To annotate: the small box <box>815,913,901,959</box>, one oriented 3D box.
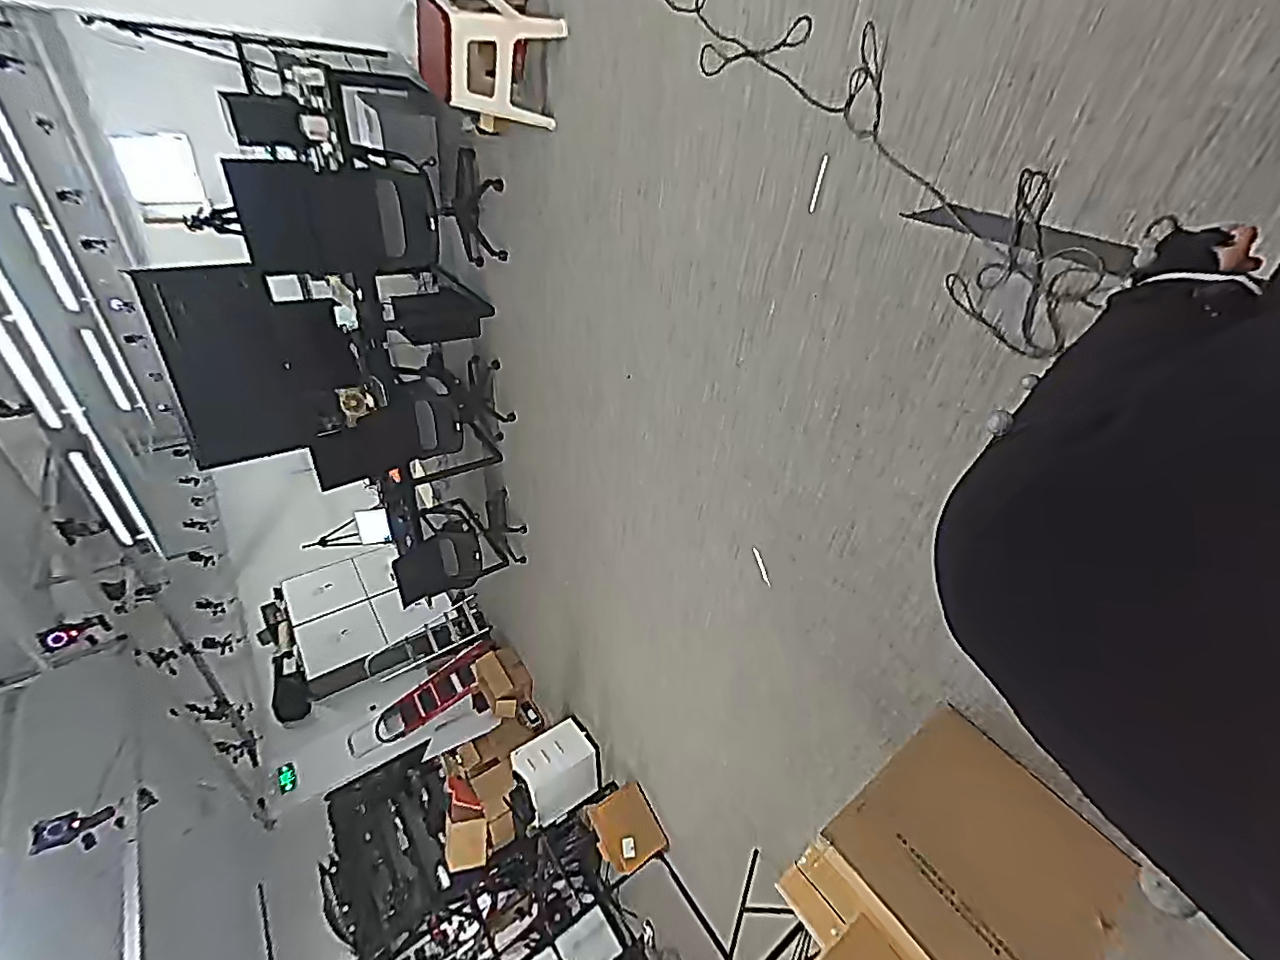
[{"bbox_3d":[0.500,1.136,1.215,0.179,0.176,0.168,44,139,38],"label":"small box"}]
